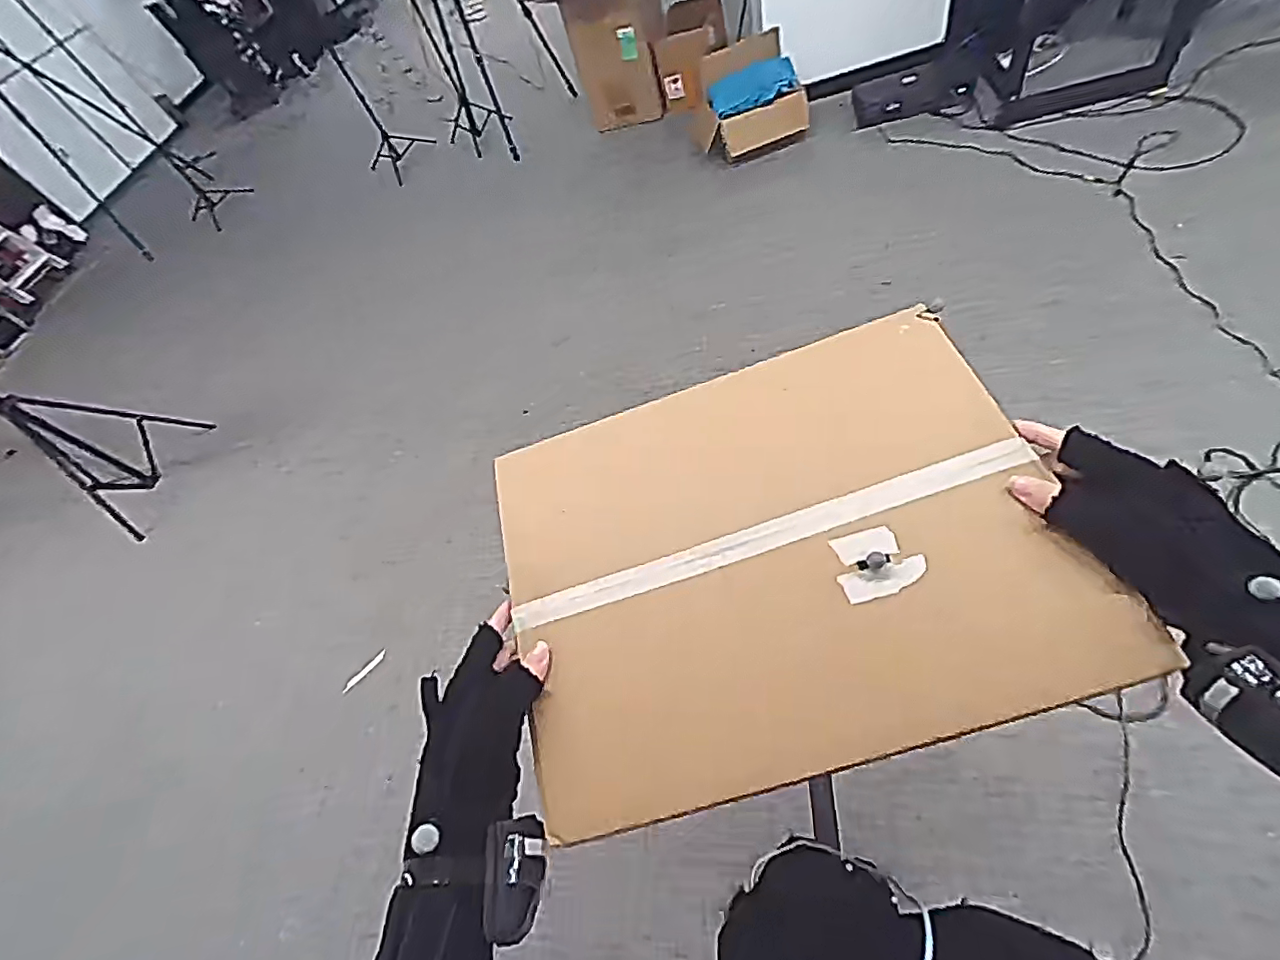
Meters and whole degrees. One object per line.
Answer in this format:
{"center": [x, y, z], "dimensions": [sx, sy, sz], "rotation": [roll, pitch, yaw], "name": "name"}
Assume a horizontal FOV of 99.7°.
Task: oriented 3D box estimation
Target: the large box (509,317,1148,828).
{"center": [0.131, 0.112, 0.554], "dimensions": [0.408, 0.320, 0.320], "rotation": [-19, 61, 5], "name": "large box"}
